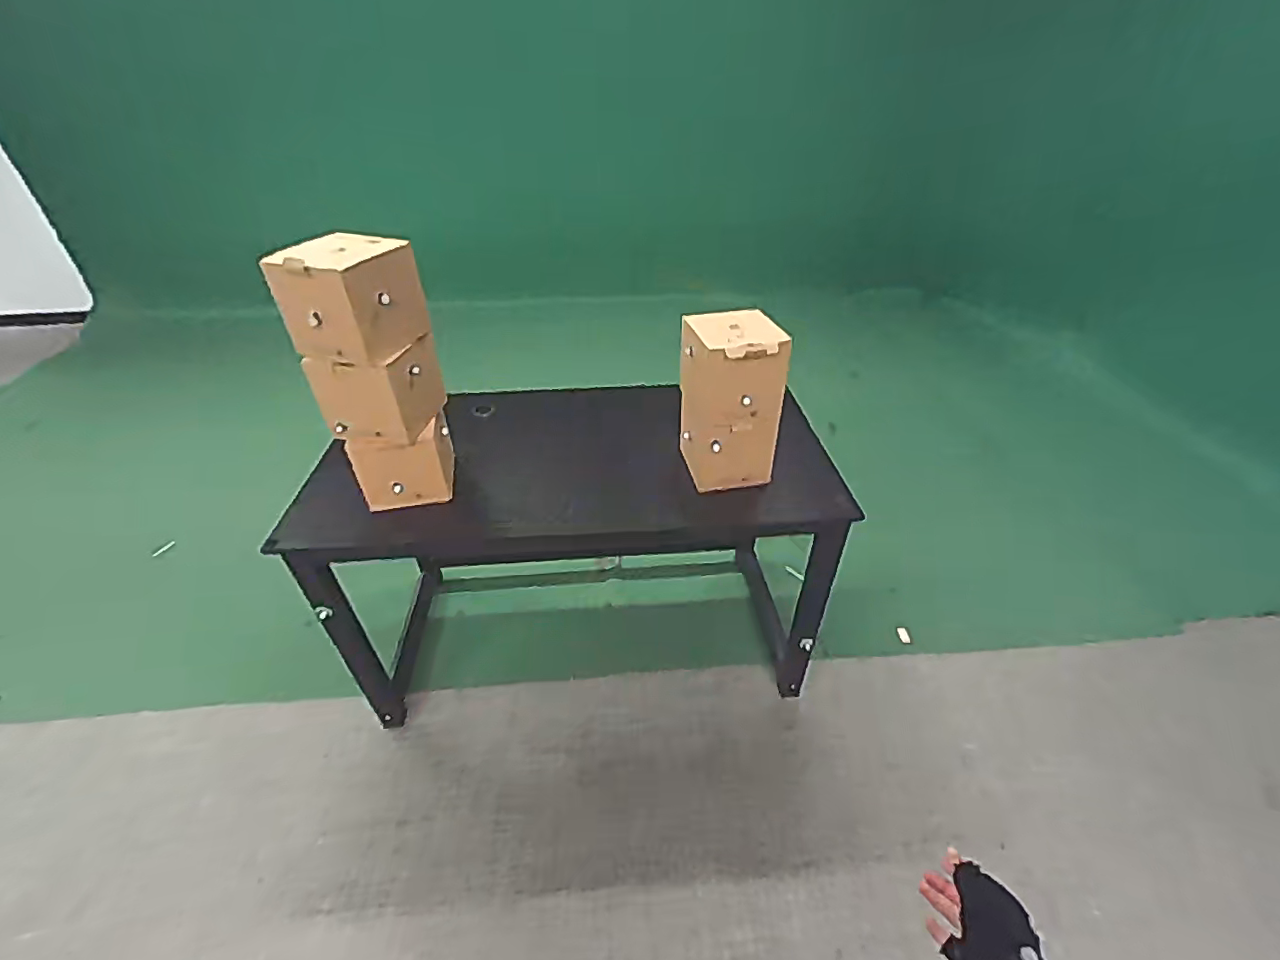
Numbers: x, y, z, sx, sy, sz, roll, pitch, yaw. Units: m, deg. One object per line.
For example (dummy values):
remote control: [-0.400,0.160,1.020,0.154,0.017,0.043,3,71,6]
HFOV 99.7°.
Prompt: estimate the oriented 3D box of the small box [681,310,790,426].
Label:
small box: [0.183,-0.230,1.102,0.168,0.176,0.179,-9,39,-9]

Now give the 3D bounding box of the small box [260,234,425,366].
small box: [-0.514,-0.322,0.967,0.168,0.176,0.179,13,42,14]

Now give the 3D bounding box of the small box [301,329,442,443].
small box: [-0.511,-0.190,1.064,0.168,0.176,0.179,6,39,6]

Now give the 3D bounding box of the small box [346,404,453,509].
small box: [-0.507,-0.061,1.167,0.168,0.176,0.179,-8,40,-10]
